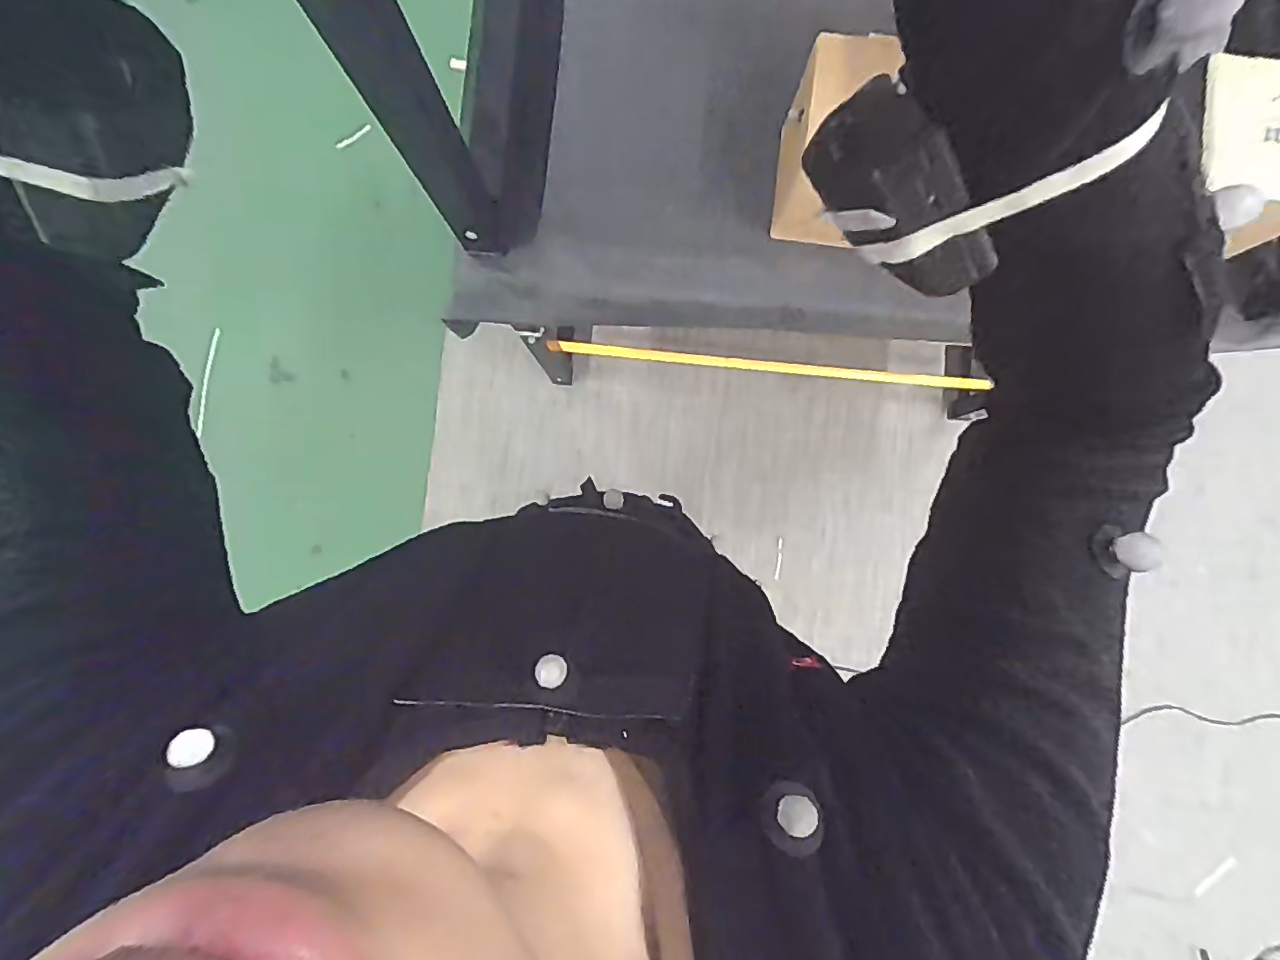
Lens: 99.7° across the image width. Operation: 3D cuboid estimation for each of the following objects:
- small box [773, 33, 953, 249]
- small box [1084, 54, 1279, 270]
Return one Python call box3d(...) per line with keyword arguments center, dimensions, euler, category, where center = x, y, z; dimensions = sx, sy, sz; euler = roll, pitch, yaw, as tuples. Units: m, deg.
box3d(center=(0.282, -0.434, 0.719), dimensions=(0.168, 0.176, 0.179), euler=(8, 86, 1), category="small box")
box3d(center=(0.733, -0.401, 0.711), dimensions=(0.168, 0.176, 0.179), euler=(9, 86, 1), category="small box")
